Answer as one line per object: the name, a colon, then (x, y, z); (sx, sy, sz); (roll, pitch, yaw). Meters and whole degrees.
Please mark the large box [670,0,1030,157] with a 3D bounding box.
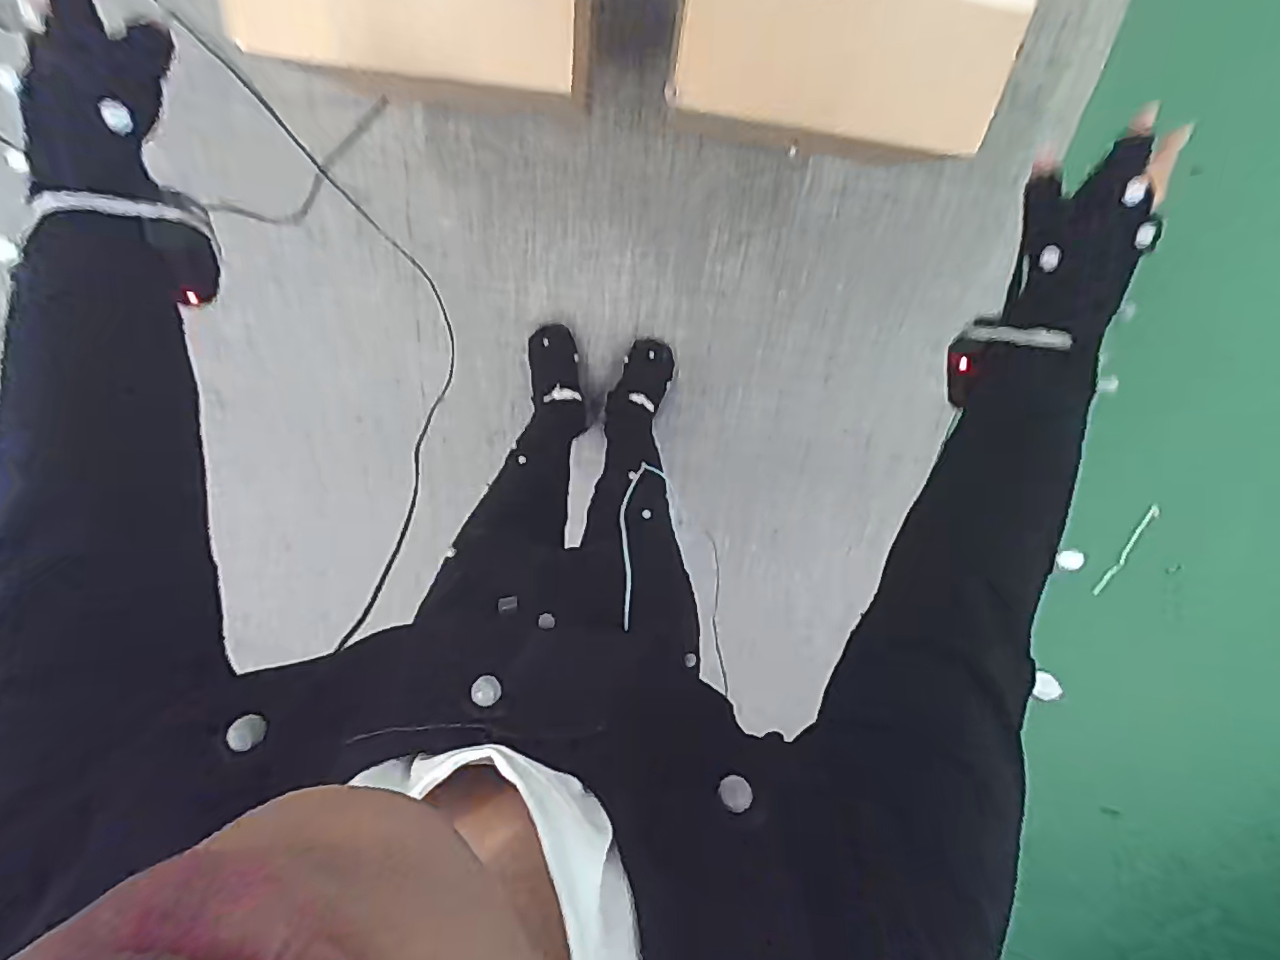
large box: (0.268, -0.659, 0.760); (0.408, 0.320, 0.320); (8, 118, -4)
